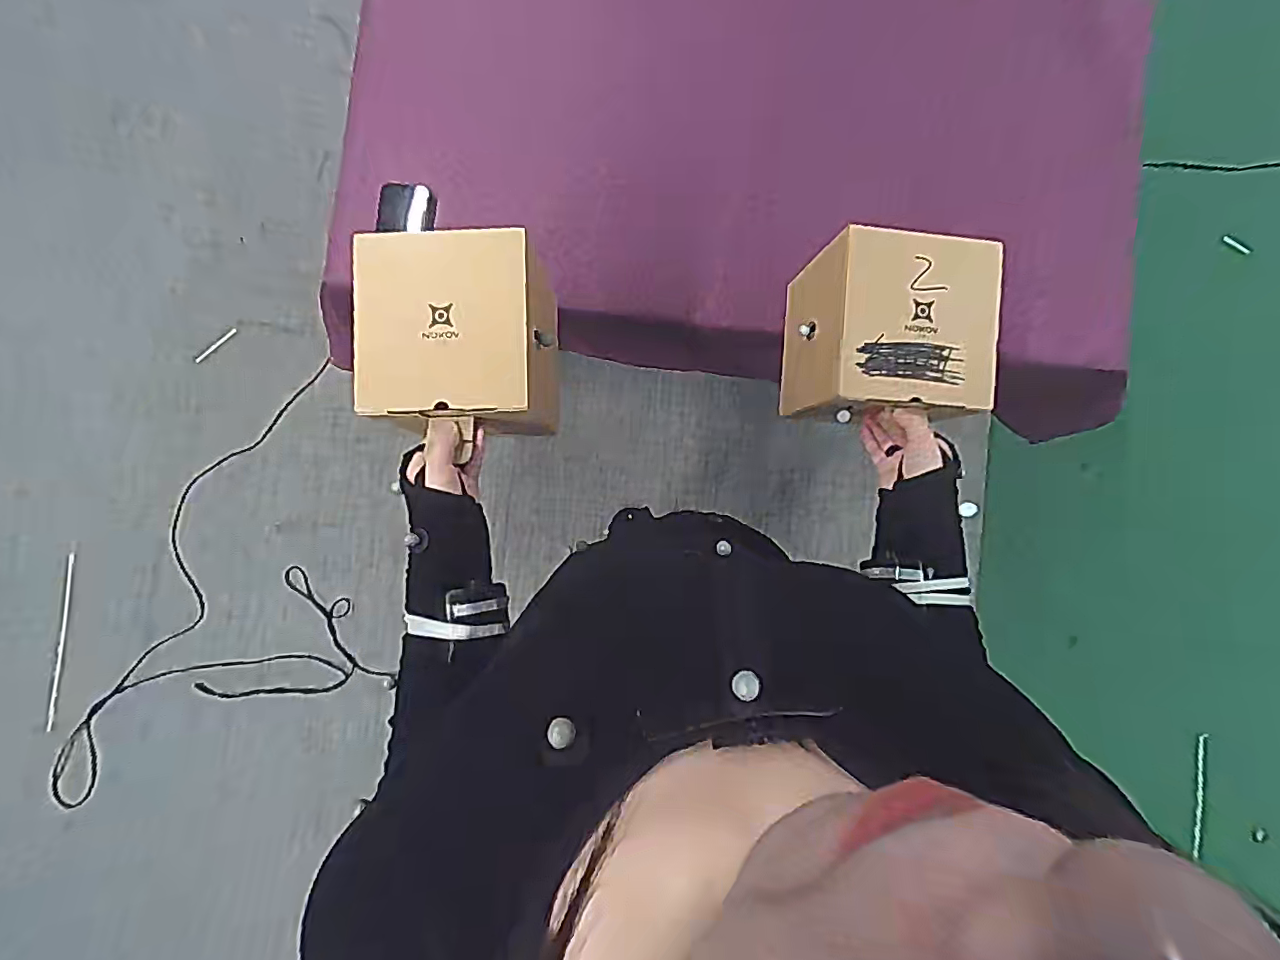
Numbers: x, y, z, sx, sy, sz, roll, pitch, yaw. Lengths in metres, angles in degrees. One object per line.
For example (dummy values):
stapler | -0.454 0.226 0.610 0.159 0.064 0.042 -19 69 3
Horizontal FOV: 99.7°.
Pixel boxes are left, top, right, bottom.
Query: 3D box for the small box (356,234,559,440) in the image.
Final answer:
small box | -0.183 -0.141 0.586 0.168 0.176 0.179 -1 88 0
